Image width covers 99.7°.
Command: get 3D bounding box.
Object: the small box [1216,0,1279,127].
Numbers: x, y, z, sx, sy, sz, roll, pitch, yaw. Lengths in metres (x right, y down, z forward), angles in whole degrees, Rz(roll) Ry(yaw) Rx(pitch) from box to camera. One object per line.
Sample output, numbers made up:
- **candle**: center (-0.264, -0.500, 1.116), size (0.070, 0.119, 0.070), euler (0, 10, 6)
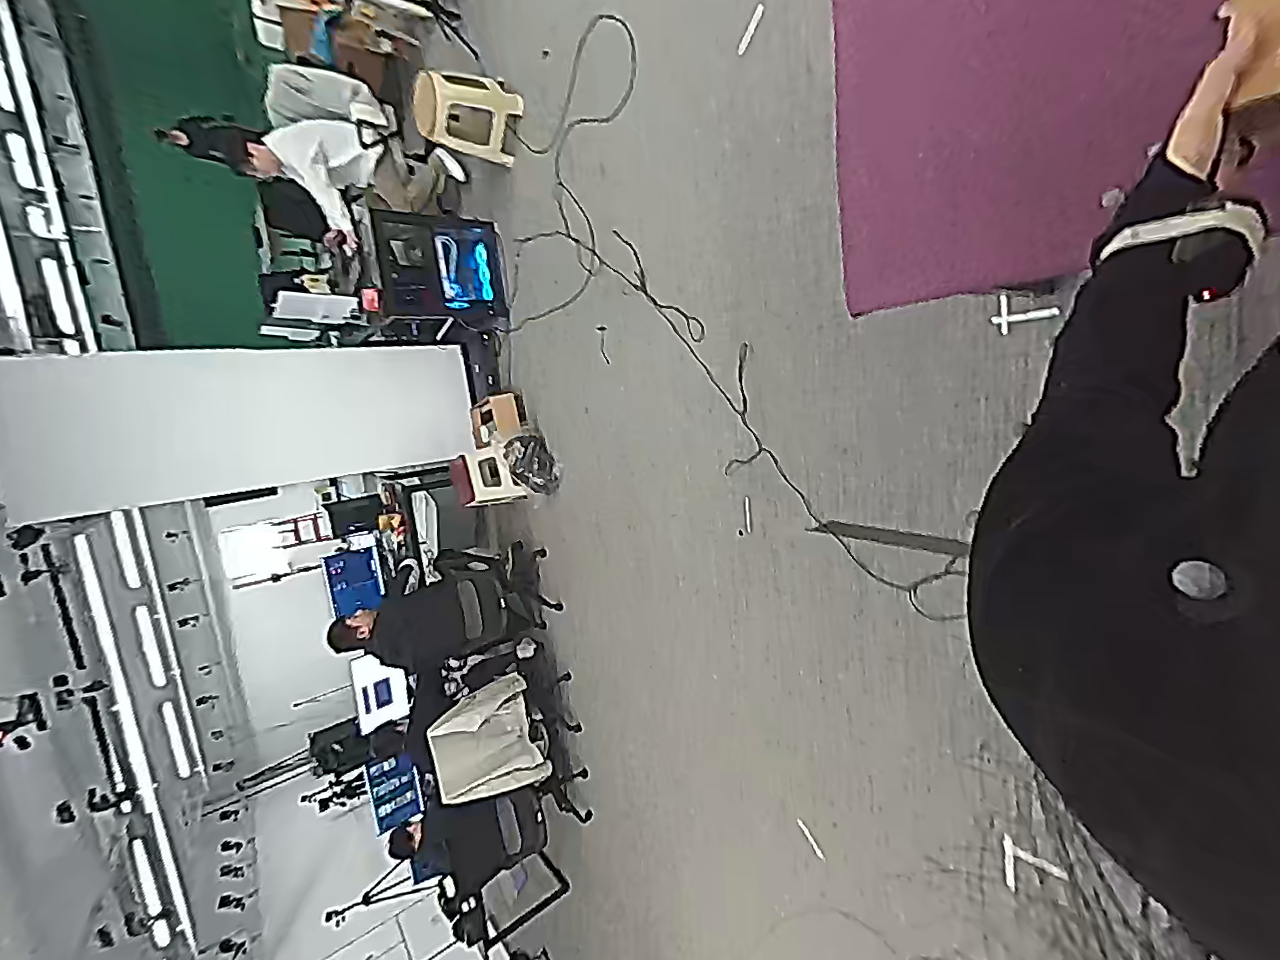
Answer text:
- **small box**: center (0.545, -0.377, 0.378), size (0.168, 0.176, 0.179), euler (8, 106, 53)
